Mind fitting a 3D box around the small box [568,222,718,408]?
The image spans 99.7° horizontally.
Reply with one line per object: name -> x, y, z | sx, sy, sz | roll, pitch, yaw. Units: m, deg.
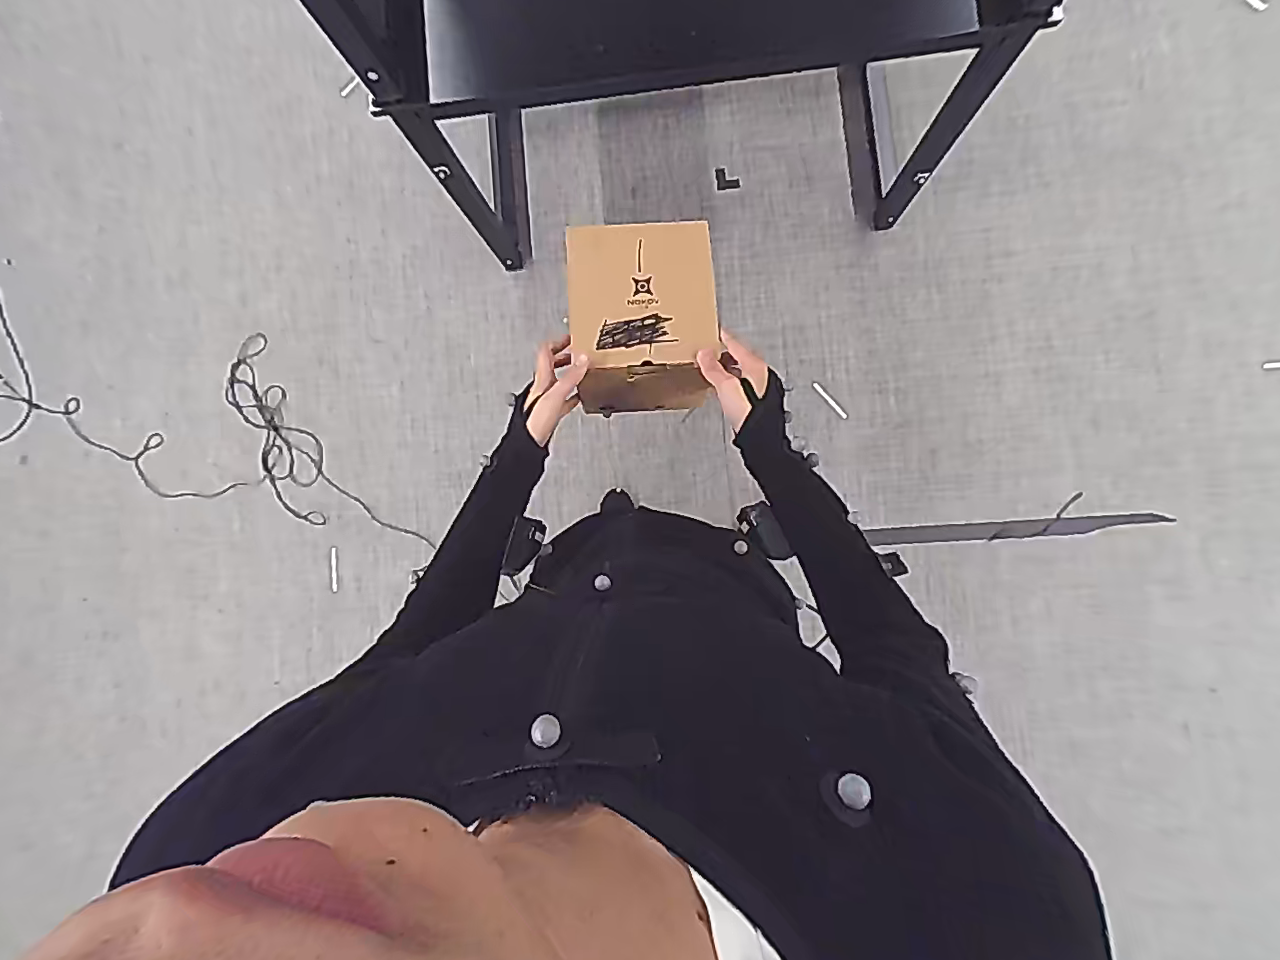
small box -> 0.002, -0.196, 0.688 | 0.168, 0.176, 0.179 | -4, 80, -2
